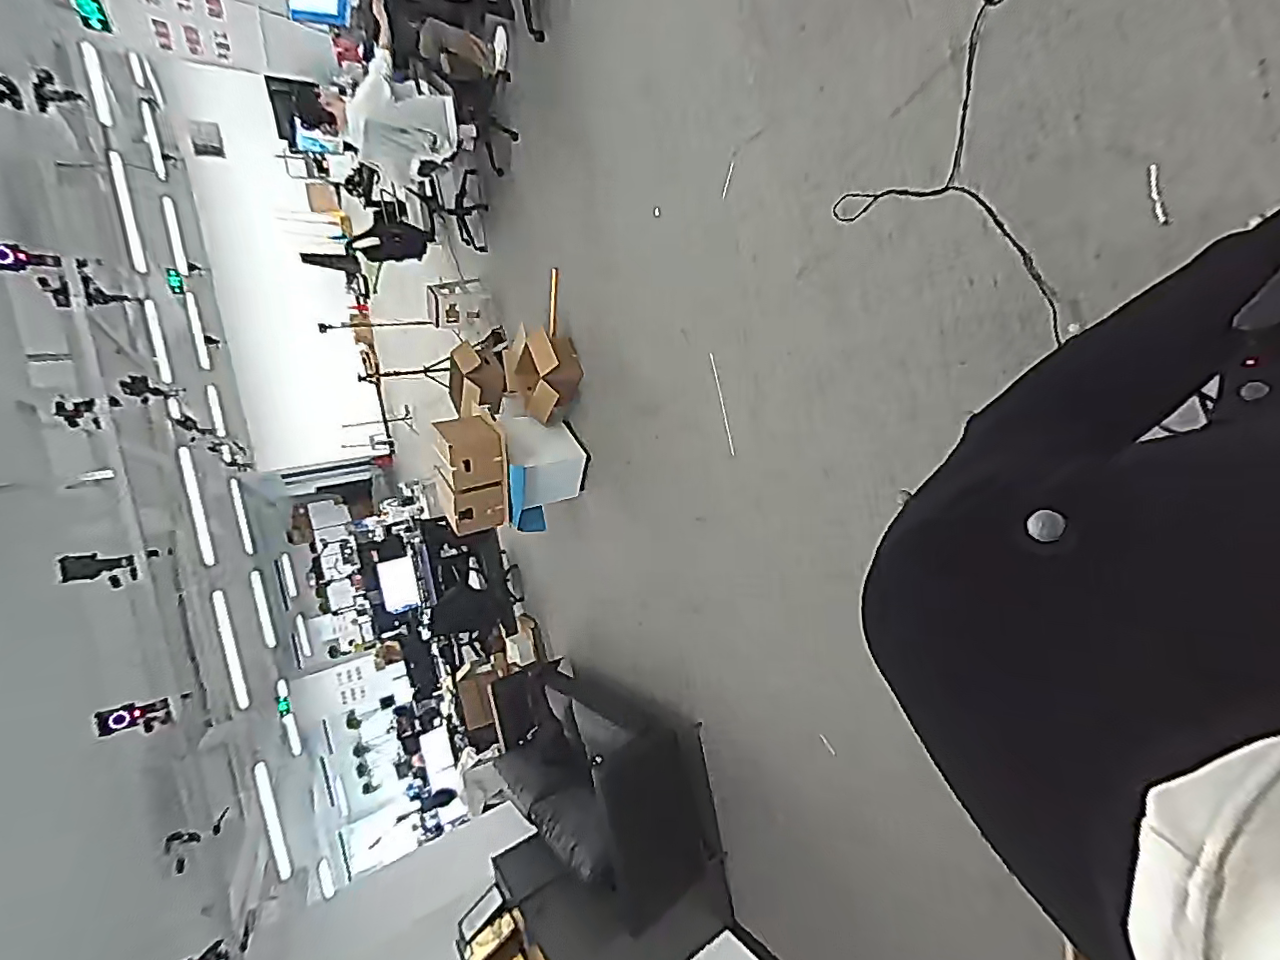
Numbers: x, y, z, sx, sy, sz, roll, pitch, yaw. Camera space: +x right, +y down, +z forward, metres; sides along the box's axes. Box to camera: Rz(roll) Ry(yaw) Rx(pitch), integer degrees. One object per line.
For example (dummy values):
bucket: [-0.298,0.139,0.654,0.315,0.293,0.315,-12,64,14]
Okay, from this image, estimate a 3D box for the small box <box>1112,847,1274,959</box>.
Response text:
small box: [1.008,0.829,0.988,0.168,0.176,0.179,15,114,58]
